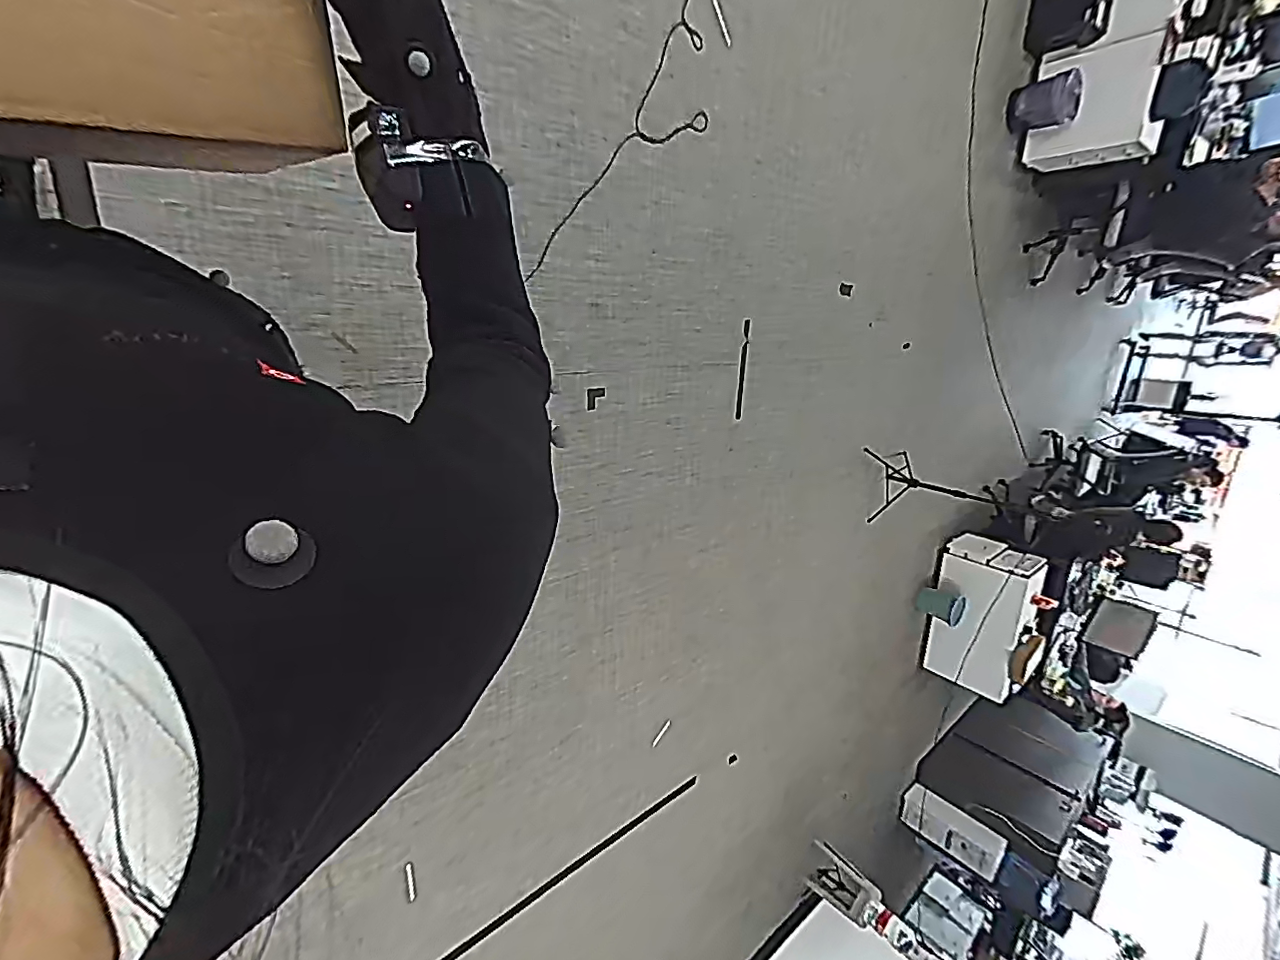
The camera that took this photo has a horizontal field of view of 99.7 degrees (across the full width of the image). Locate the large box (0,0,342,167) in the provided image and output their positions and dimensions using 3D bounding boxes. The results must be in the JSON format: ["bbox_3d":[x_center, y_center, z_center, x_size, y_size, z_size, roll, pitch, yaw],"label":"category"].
[{"bbox_3d":[-0.455,-0.369,0.299,0.408,0.320,0.320,-20,124,-38],"label":"large box"}]
